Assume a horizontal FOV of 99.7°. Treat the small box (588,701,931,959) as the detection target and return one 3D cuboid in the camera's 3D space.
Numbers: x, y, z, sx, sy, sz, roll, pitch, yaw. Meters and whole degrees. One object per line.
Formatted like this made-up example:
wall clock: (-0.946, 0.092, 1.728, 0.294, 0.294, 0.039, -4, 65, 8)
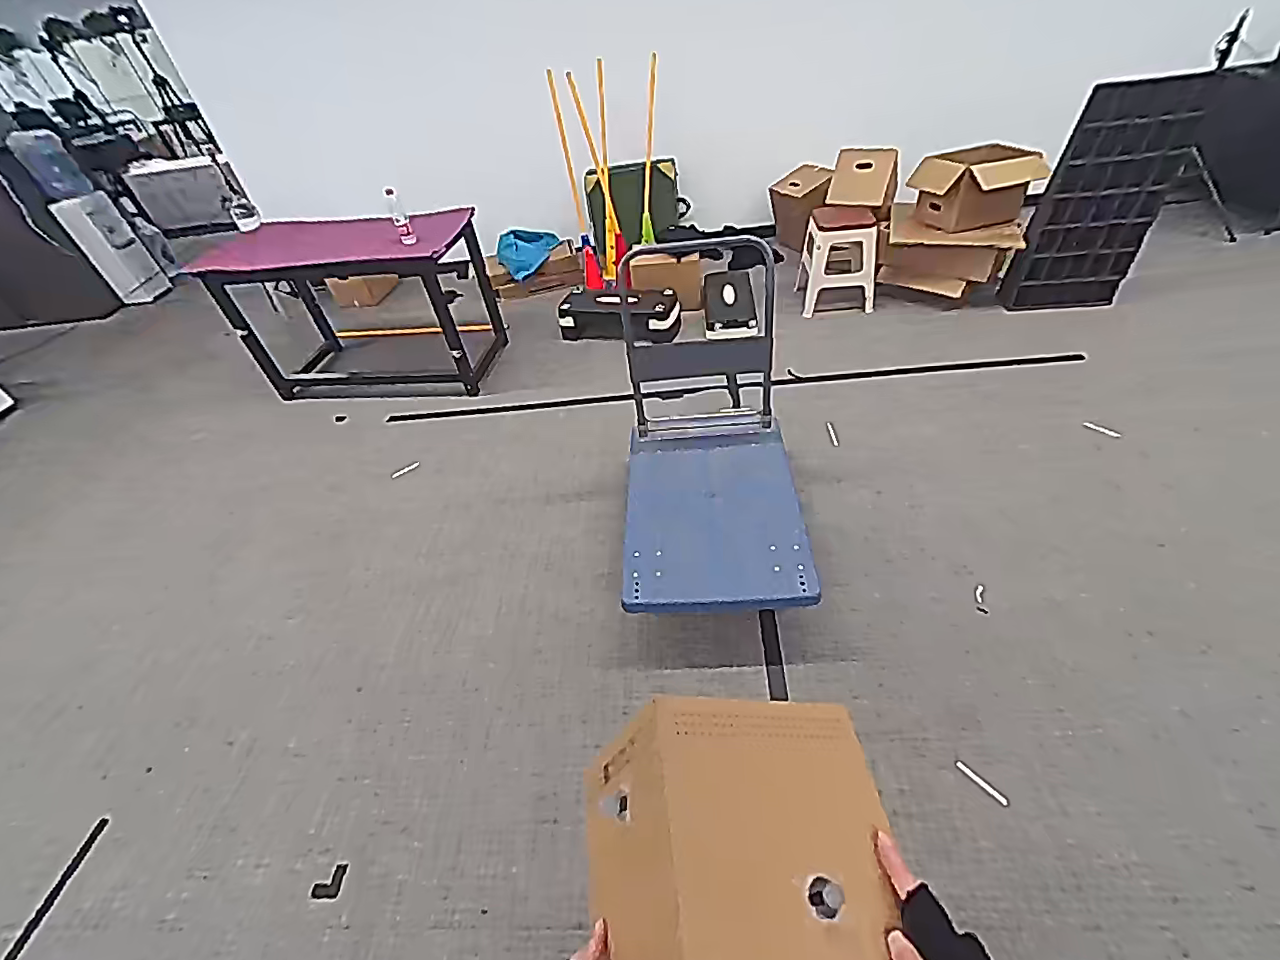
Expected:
small box: (0.068, 0.285, 0.415, 0.179, 0.168, 0.176, 11, 42, -20)
